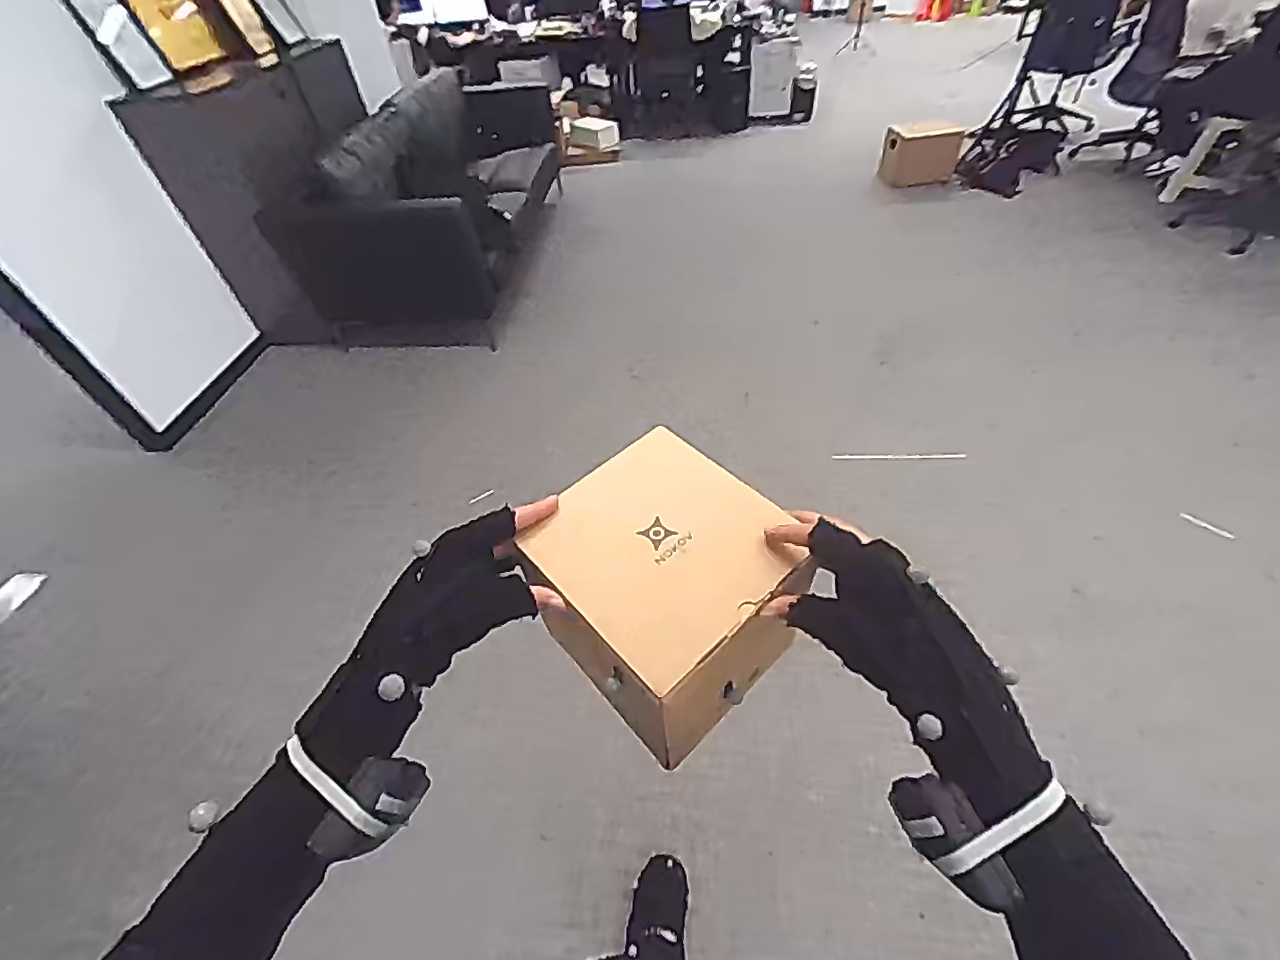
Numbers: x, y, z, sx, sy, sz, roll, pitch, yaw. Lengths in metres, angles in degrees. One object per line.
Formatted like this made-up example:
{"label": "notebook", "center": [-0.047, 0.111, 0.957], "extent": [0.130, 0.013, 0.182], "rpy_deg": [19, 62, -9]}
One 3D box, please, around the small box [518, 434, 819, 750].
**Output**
{"label": "small box", "center": [0.022, 0.097, 0.473], "extent": [0.168, 0.176, 0.179], "rpy_deg": [-36, 56, -24]}
